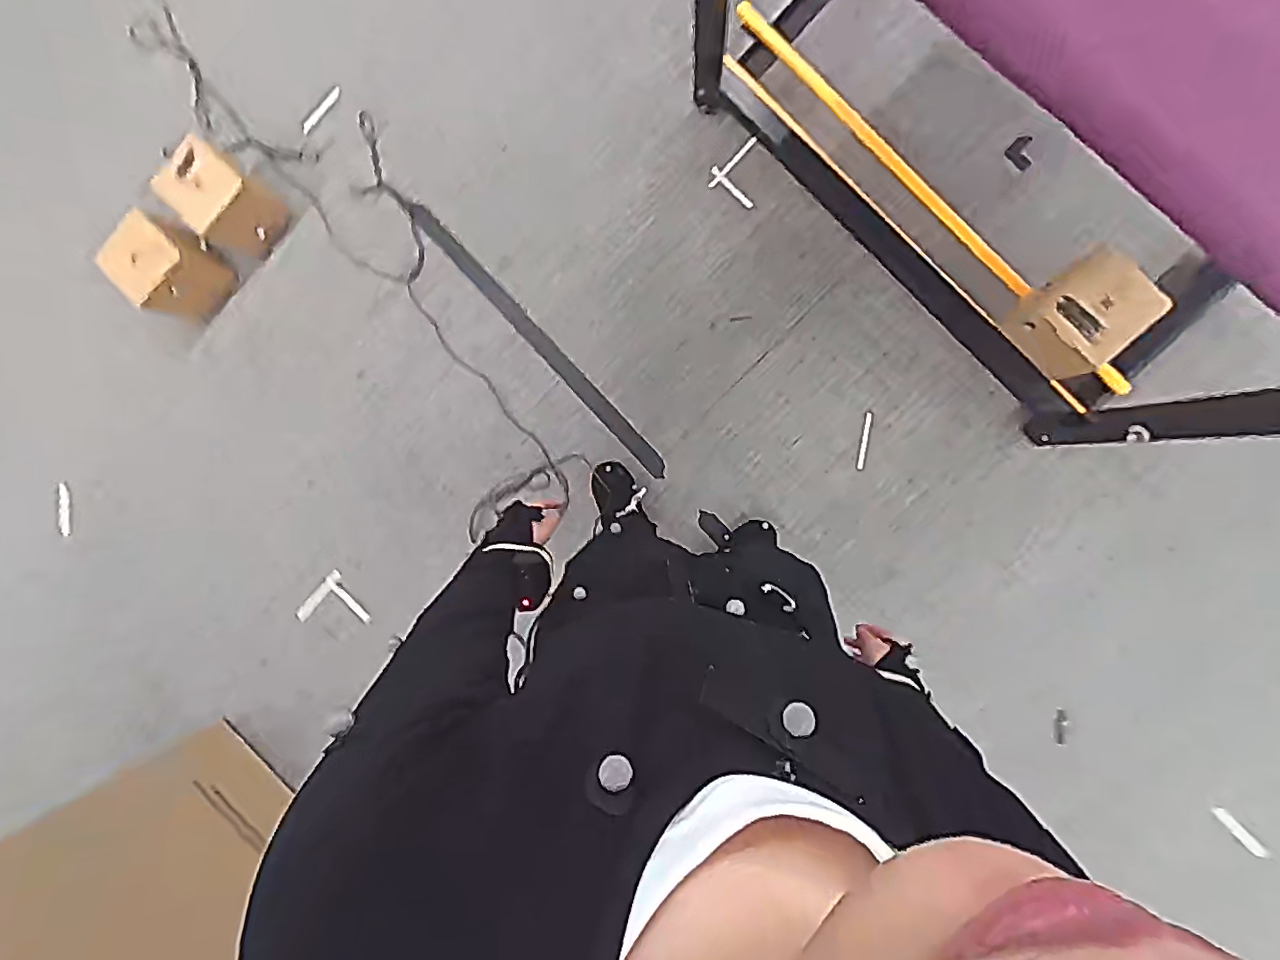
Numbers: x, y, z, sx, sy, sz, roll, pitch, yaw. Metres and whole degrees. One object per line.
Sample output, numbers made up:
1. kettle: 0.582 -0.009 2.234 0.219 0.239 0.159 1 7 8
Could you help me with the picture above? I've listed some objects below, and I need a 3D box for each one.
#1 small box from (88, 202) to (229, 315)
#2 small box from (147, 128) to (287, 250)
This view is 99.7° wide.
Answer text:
1. small box: -1.202 -0.547 1.365 0.179 0.176 0.168 -43 89 7
2. small box: -1.040 -0.711 1.344 0.179 0.176 0.168 45 95 0
